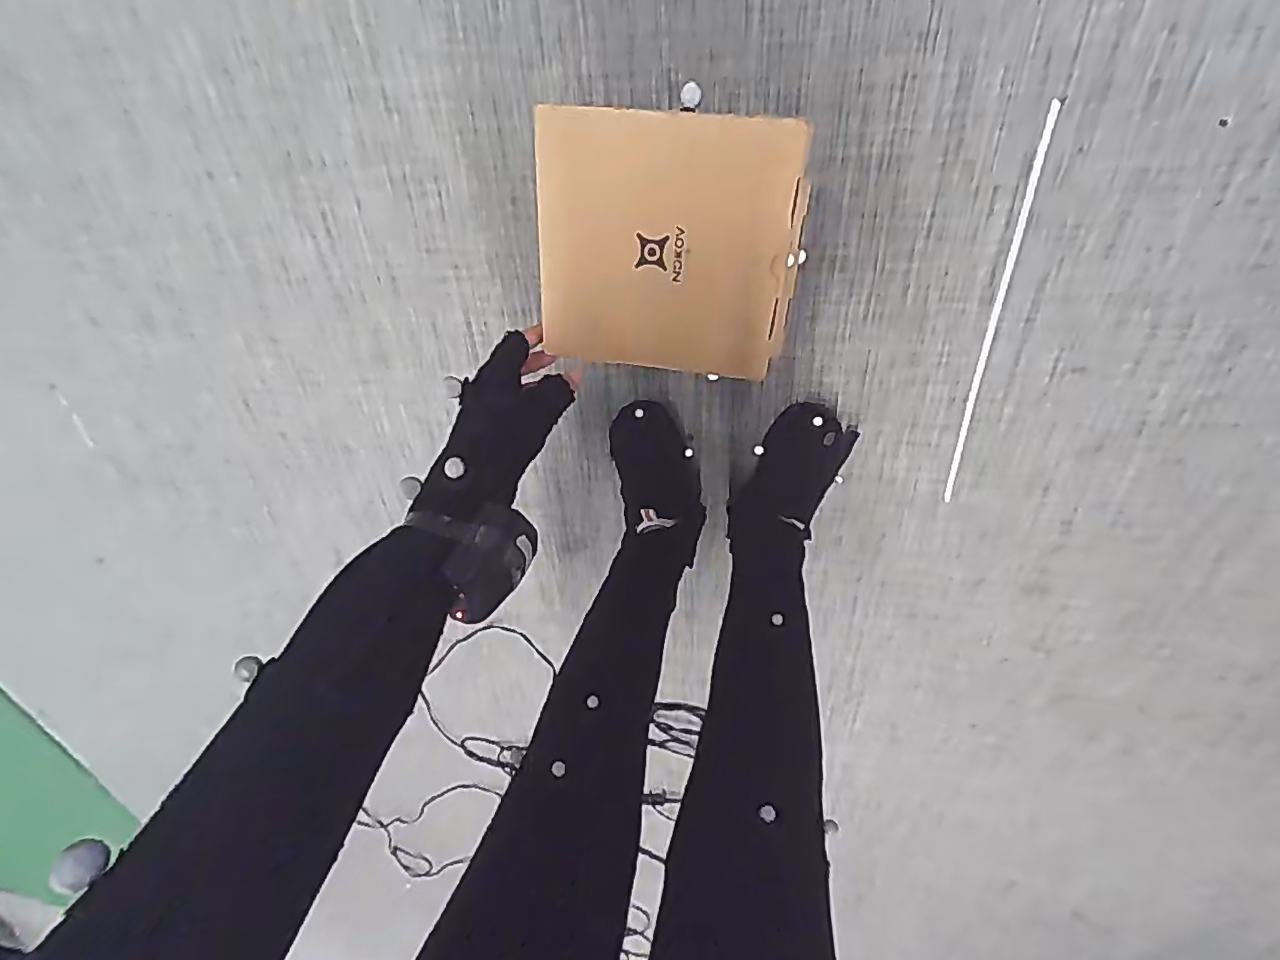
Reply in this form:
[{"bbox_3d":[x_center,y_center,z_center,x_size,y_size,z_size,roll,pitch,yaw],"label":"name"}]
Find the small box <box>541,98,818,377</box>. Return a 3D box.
[{"bbox_3d":[0.031,-0.198,0.441,0.179,0.176,0.168,8,122,7],"label":"small box"}]
